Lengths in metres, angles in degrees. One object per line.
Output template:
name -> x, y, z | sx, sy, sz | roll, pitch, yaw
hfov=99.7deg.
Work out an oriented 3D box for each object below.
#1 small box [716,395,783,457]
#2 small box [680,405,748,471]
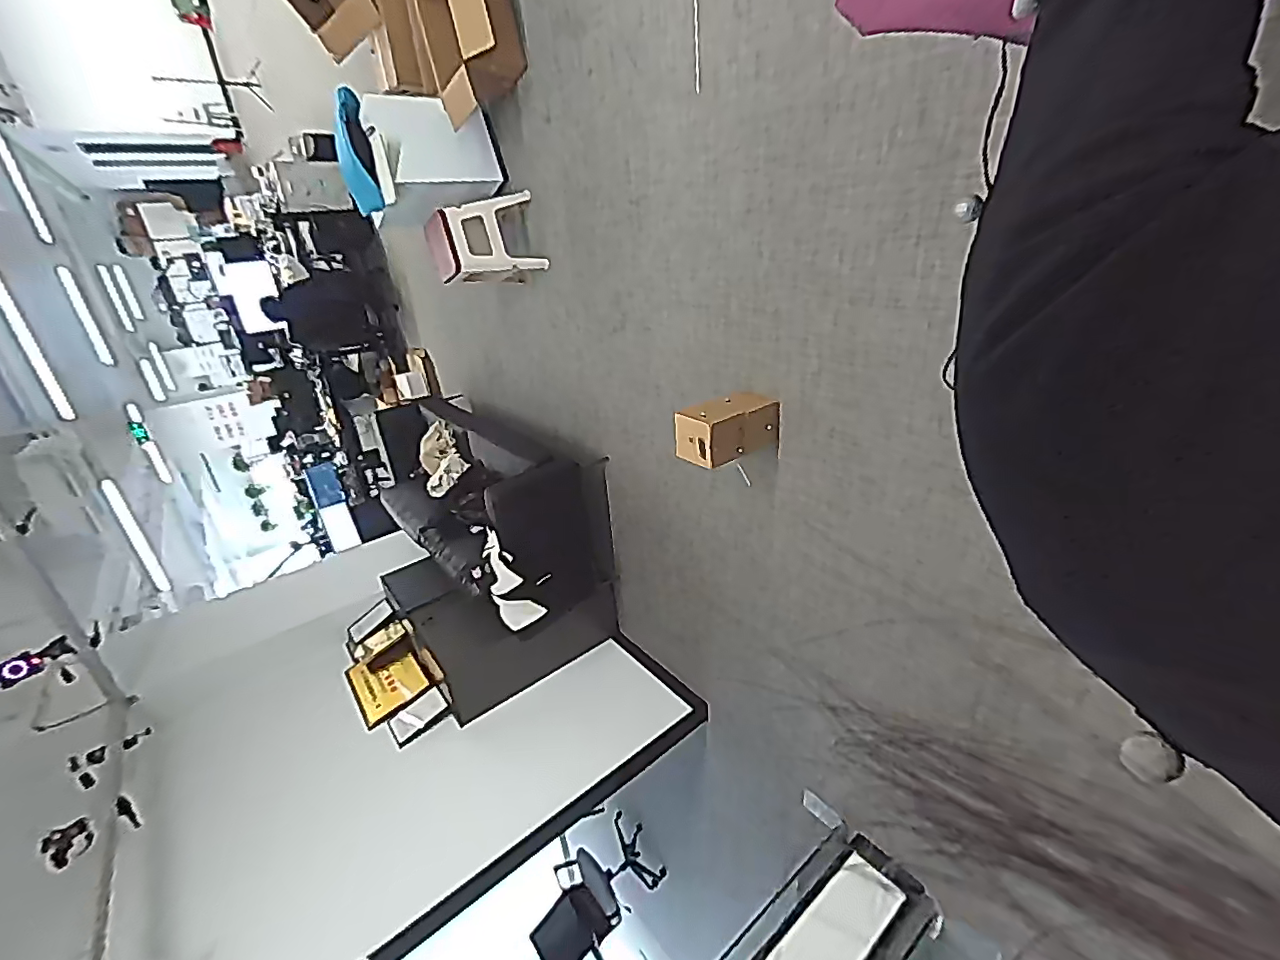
small box -> 0.392, -0.203, 1.960 | 0.179, 0.176, 0.168 | 26, 130, 46
small box -> 0.260, -0.153, 1.877 | 0.179, 0.176, 0.168 | 26, 129, 47
